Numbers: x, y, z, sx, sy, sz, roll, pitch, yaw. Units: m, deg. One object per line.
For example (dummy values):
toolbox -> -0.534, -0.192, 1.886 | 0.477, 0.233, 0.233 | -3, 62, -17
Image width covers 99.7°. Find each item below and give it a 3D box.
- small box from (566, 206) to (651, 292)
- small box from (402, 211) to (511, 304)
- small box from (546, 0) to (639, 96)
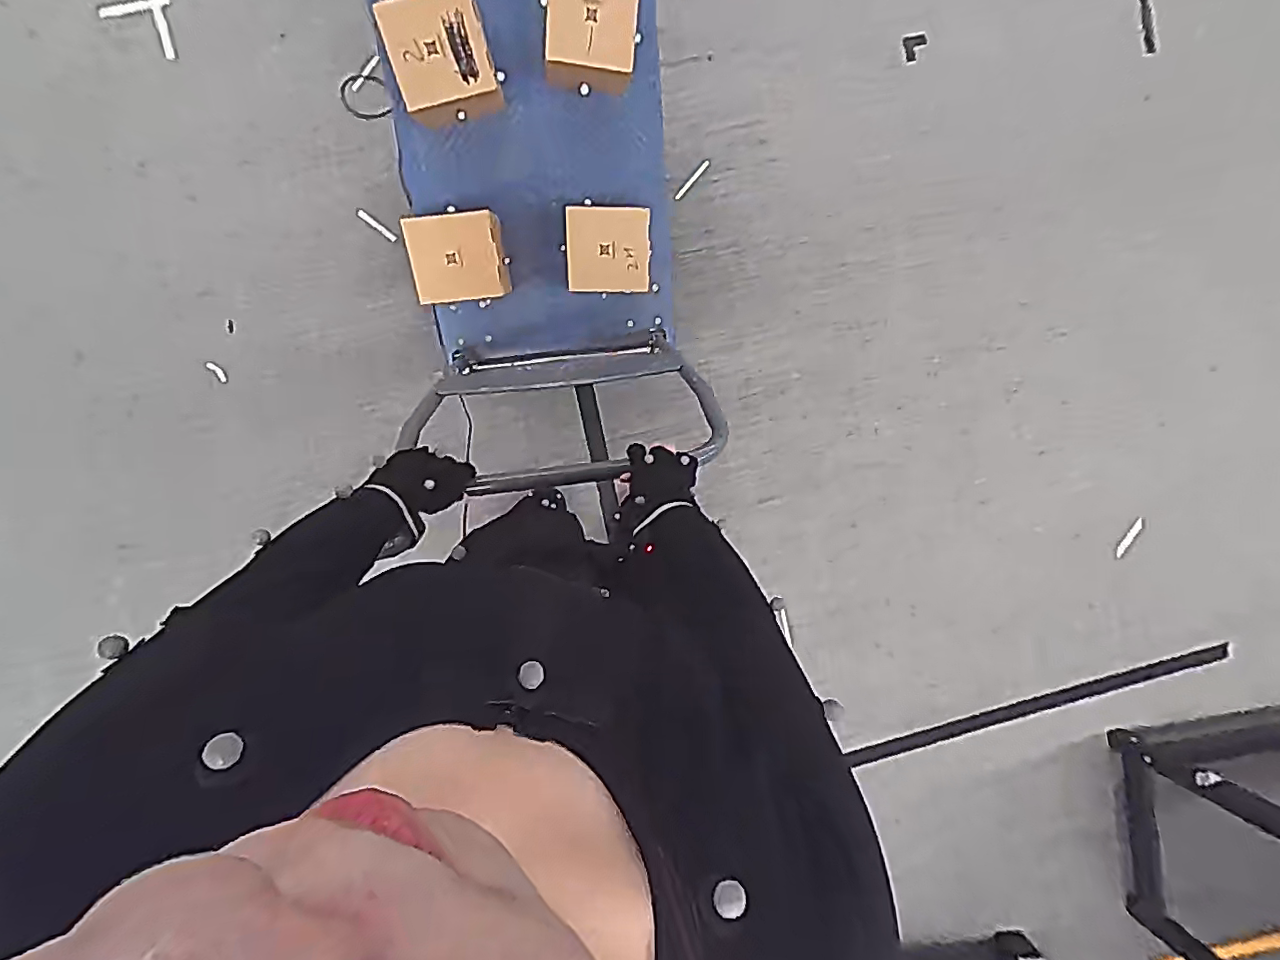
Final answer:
small box -> -0.072, -0.508, 1.202 | 0.179, 0.176, 0.168 | -2, 112, -6
small box -> -0.388, -0.478, 1.176 | 0.179, 0.176, 0.168 | -9, 112, -5
small box -> -0.095, -0.883, 1.052 | 0.168, 0.176, 0.179 | 3, 112, -8
